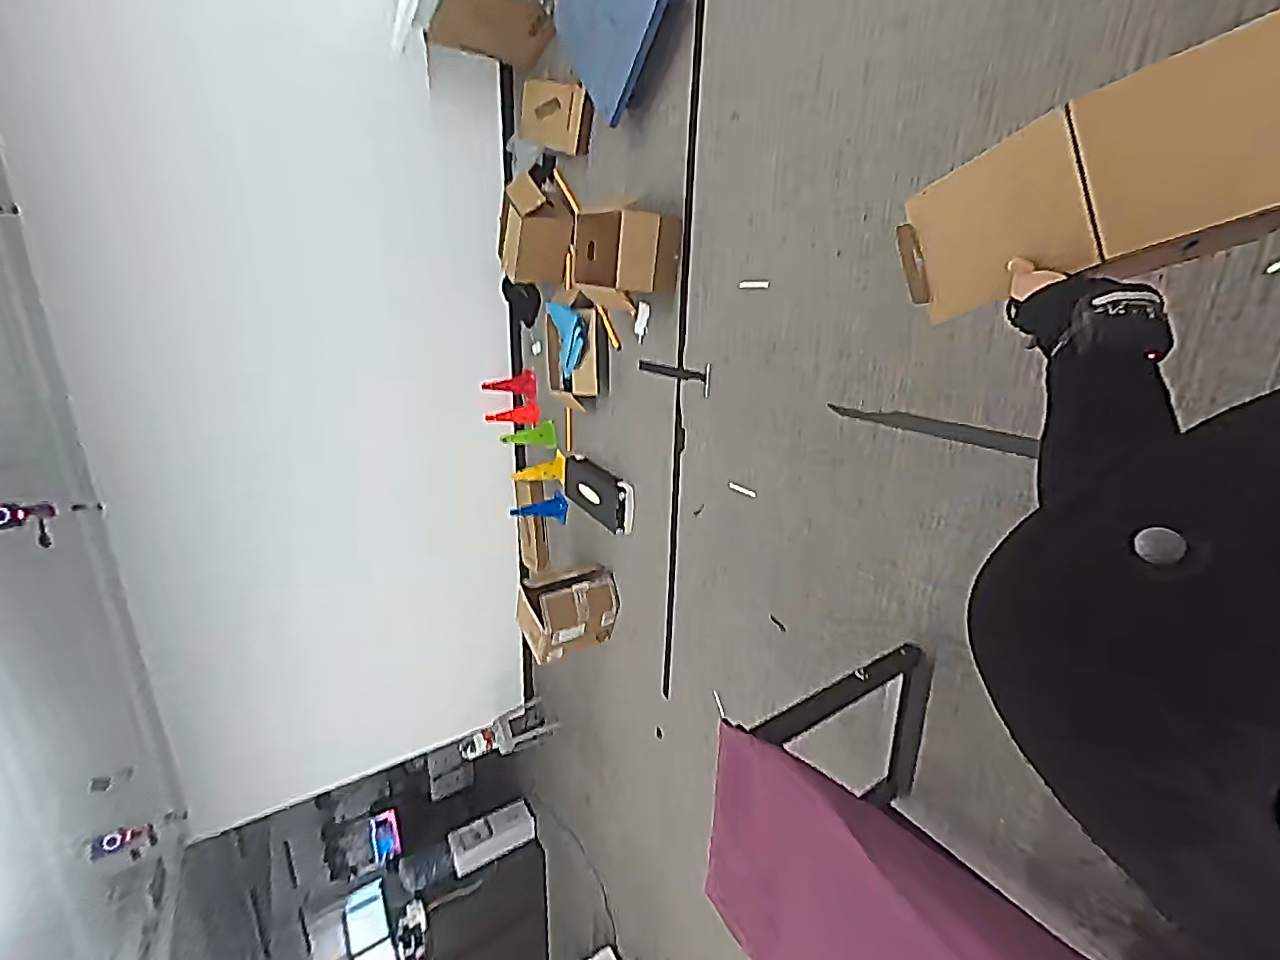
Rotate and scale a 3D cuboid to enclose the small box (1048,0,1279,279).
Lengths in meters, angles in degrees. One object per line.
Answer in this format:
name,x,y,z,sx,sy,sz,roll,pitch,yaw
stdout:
small box,0.538,-0.323,0.549,0.179,0.176,0.168,-13,91,31
